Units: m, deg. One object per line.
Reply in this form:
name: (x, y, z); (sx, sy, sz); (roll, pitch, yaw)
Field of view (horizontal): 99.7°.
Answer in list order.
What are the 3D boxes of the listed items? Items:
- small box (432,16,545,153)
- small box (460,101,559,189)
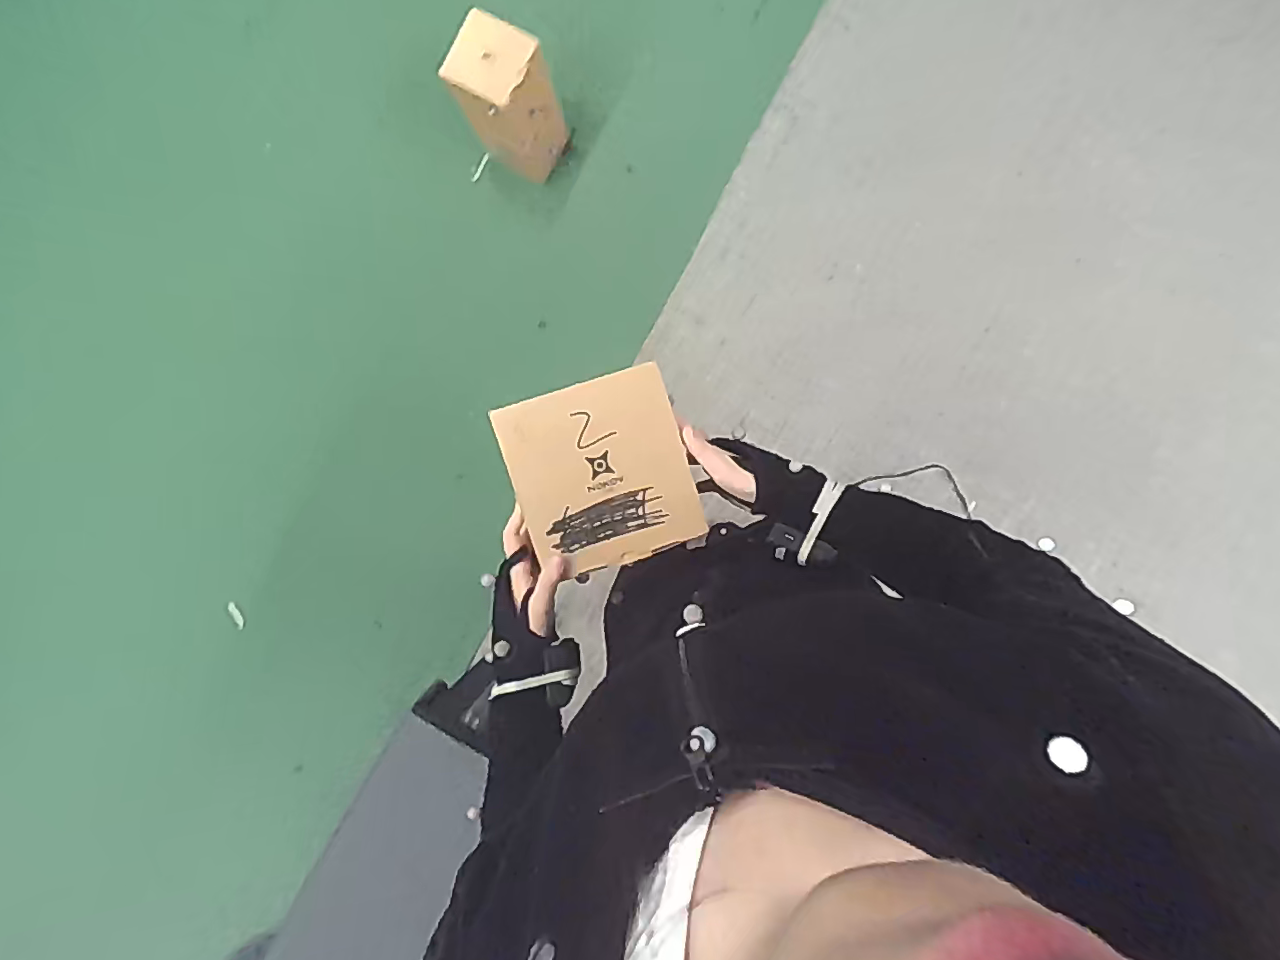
small box: (-0.350, -0.923, 1.280); (0.179, 0.176, 0.168); (28, 91, 3)
small box: (-0.341, -0.919, 1.442); (0.179, 0.176, 0.168); (29, 92, 3)
